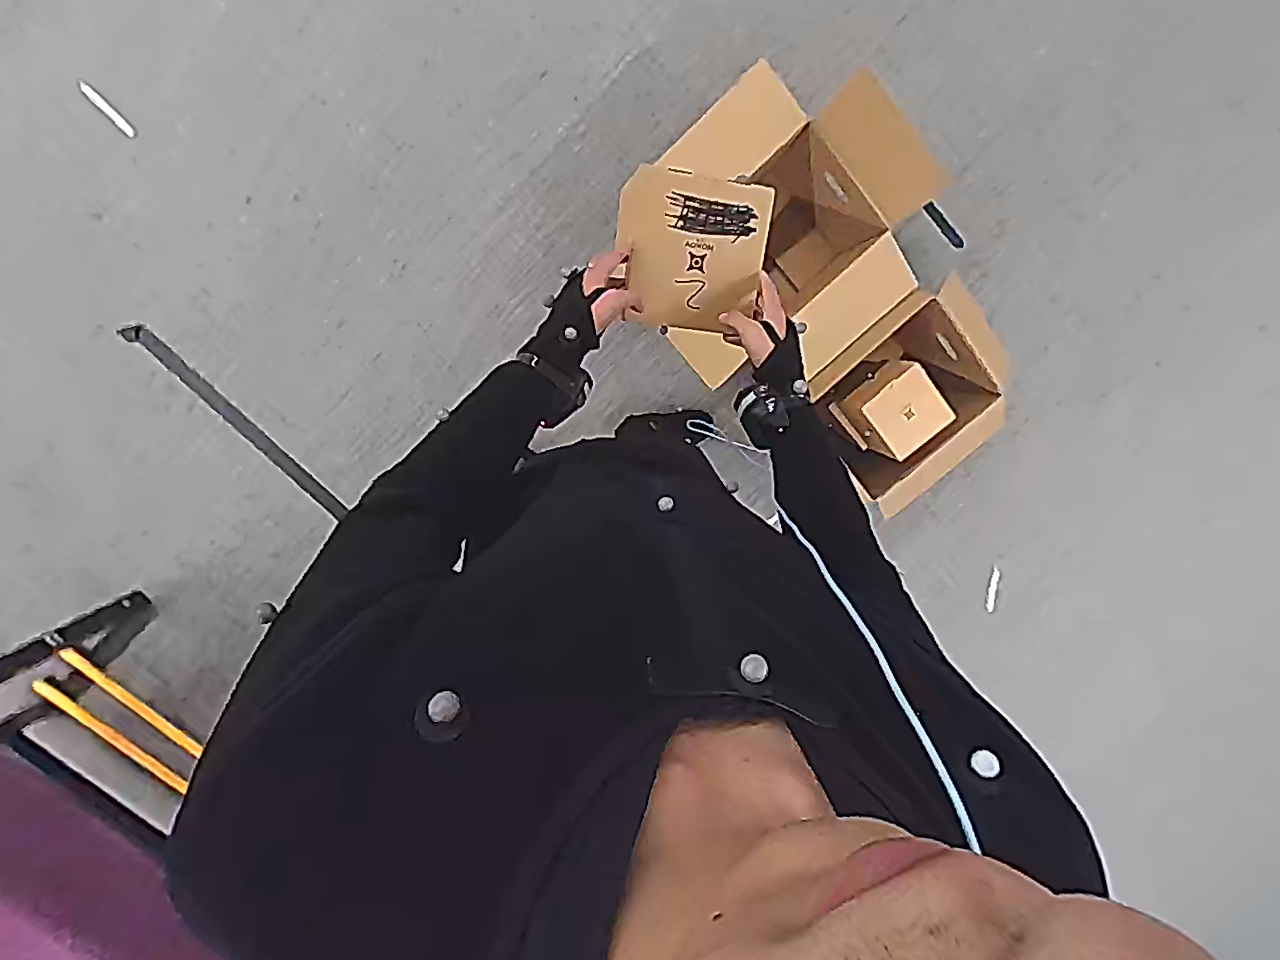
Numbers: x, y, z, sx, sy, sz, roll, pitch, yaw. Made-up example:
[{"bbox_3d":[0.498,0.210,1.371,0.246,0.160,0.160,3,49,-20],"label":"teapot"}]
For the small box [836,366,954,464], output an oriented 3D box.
[{"bbox_3d":[0.632,-0.172,1.359,0.168,0.176,0.179,-40,101,8],"label":"small box"}]
